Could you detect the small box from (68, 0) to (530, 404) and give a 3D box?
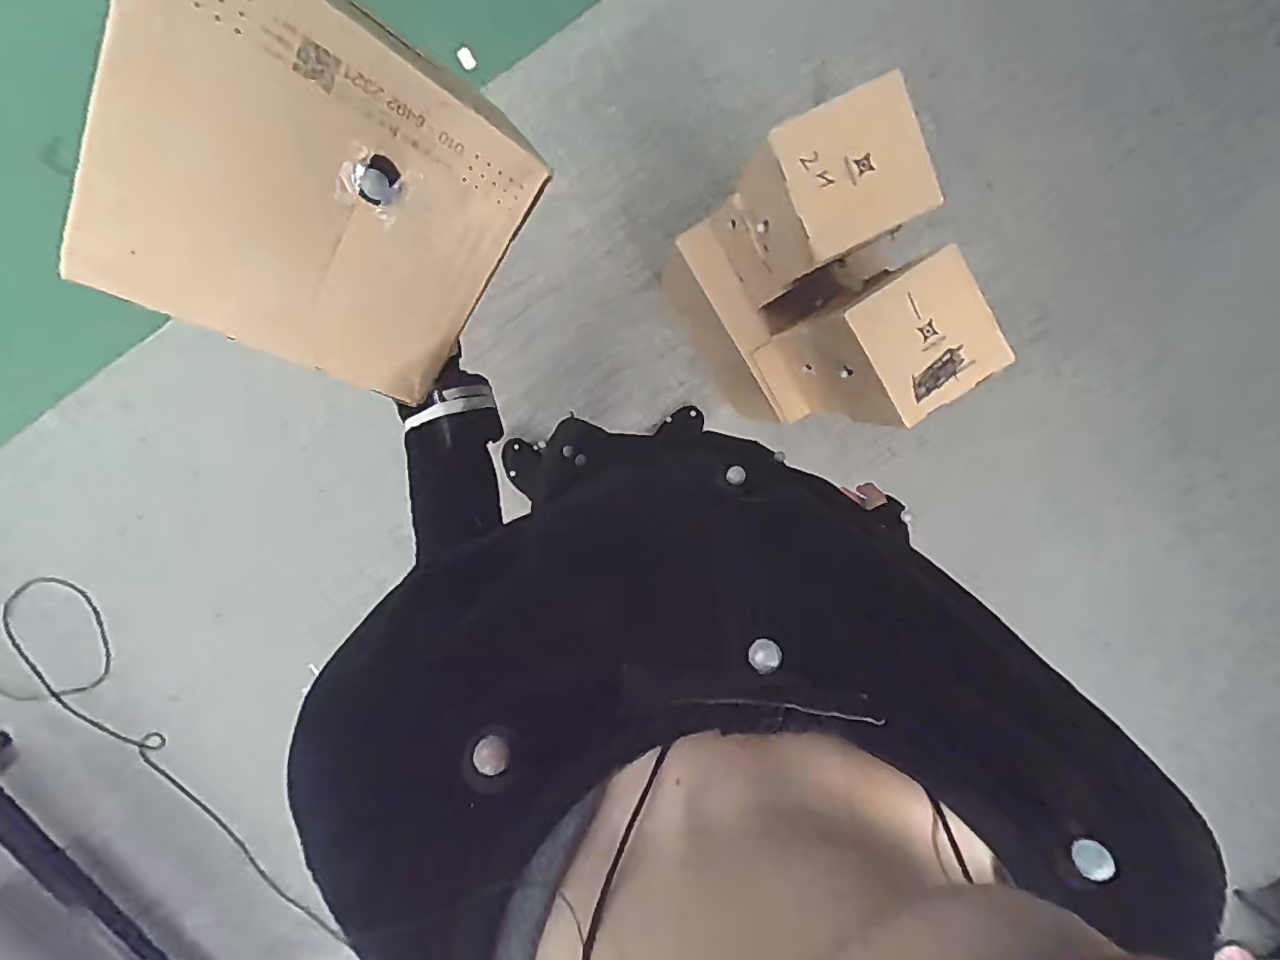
[{"bbox_3d":[-0.186,-0.182,0.325,0.168,0.179,0.176,20,119,-37],"label":"small box"}]

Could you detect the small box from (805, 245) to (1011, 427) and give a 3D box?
[{"bbox_3d":[0.366,-0.194,0.770,0.168,0.176,0.179,-32,97,3],"label":"small box"}]
